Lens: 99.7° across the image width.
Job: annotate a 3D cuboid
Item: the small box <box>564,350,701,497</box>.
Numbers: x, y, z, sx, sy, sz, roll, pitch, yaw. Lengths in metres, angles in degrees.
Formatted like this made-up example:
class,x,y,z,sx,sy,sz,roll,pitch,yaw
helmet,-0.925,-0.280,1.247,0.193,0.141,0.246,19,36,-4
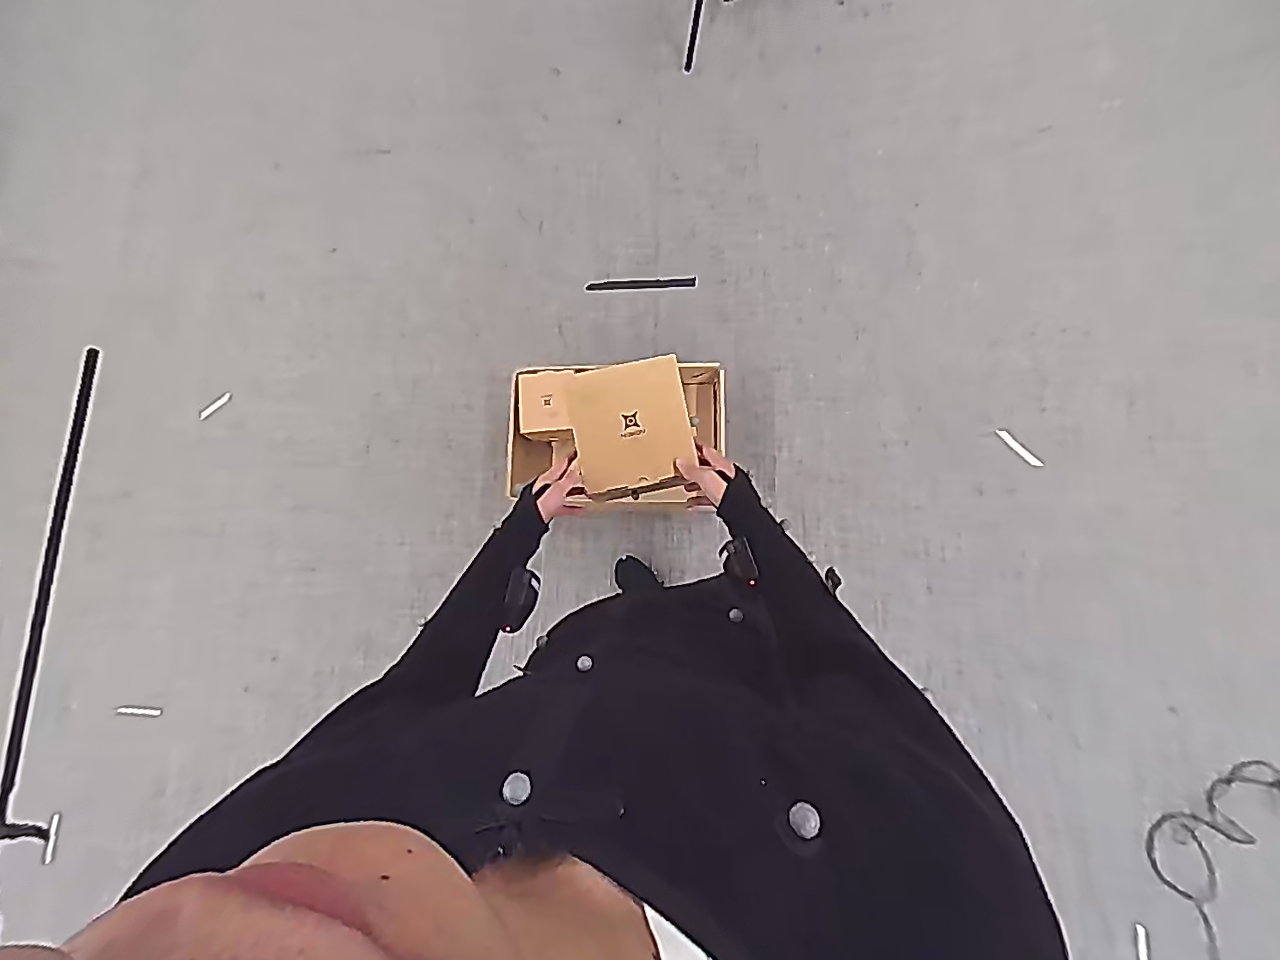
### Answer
class,x,y,z,sx,sy,sz,roll,pitch,yaw
small box,-0.012,-0.076,0.826,0.168,0.176,0.179,-12,86,-1
